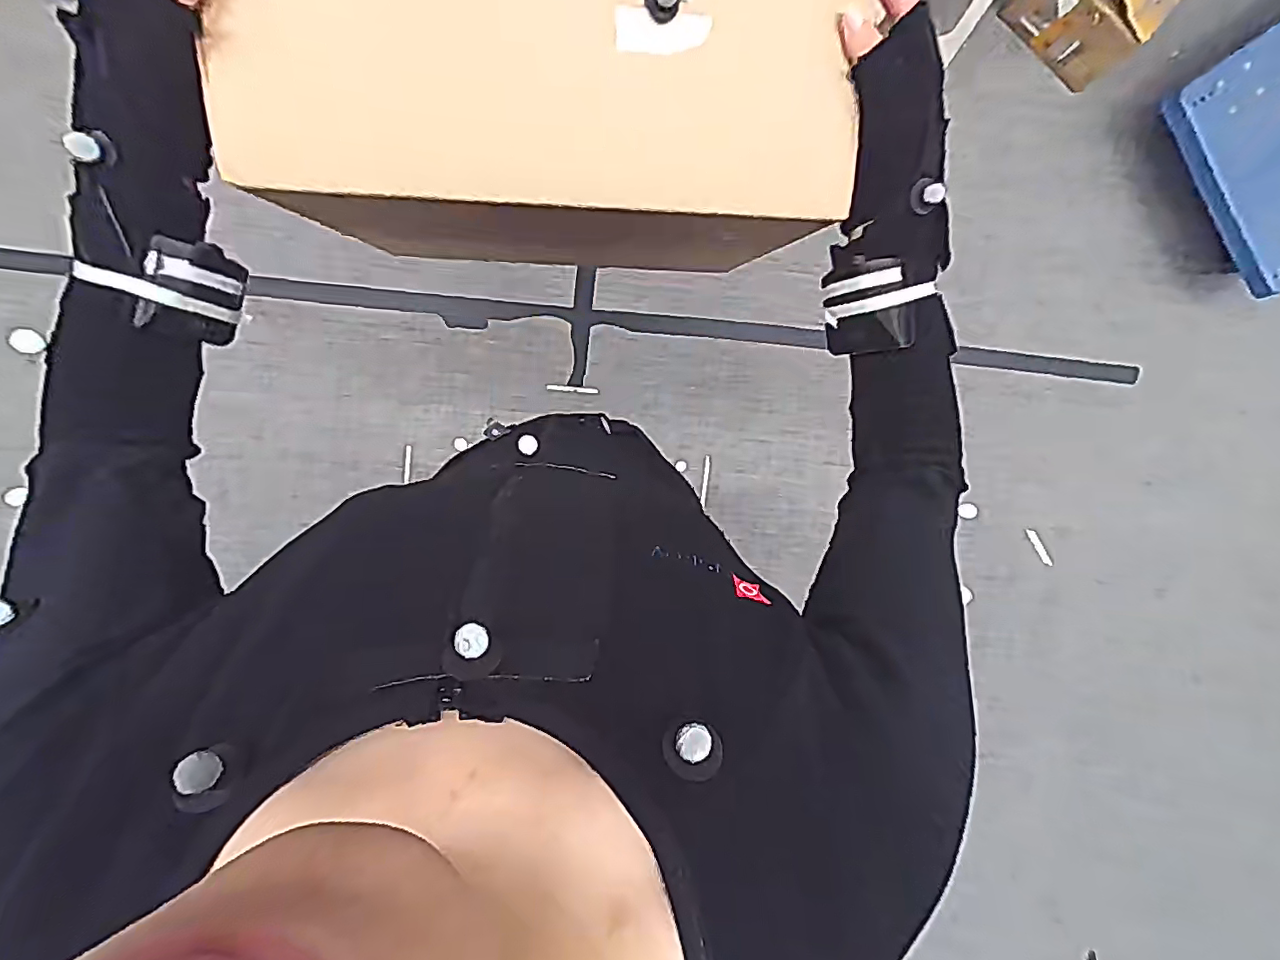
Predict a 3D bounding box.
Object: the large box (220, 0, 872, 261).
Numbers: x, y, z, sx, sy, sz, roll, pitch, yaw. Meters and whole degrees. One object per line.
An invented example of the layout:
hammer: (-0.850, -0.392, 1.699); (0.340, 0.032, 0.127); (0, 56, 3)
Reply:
large box: (-0.064, -0.375, 0.463); (0.408, 0.320, 0.320); (-1, 106, -7)
